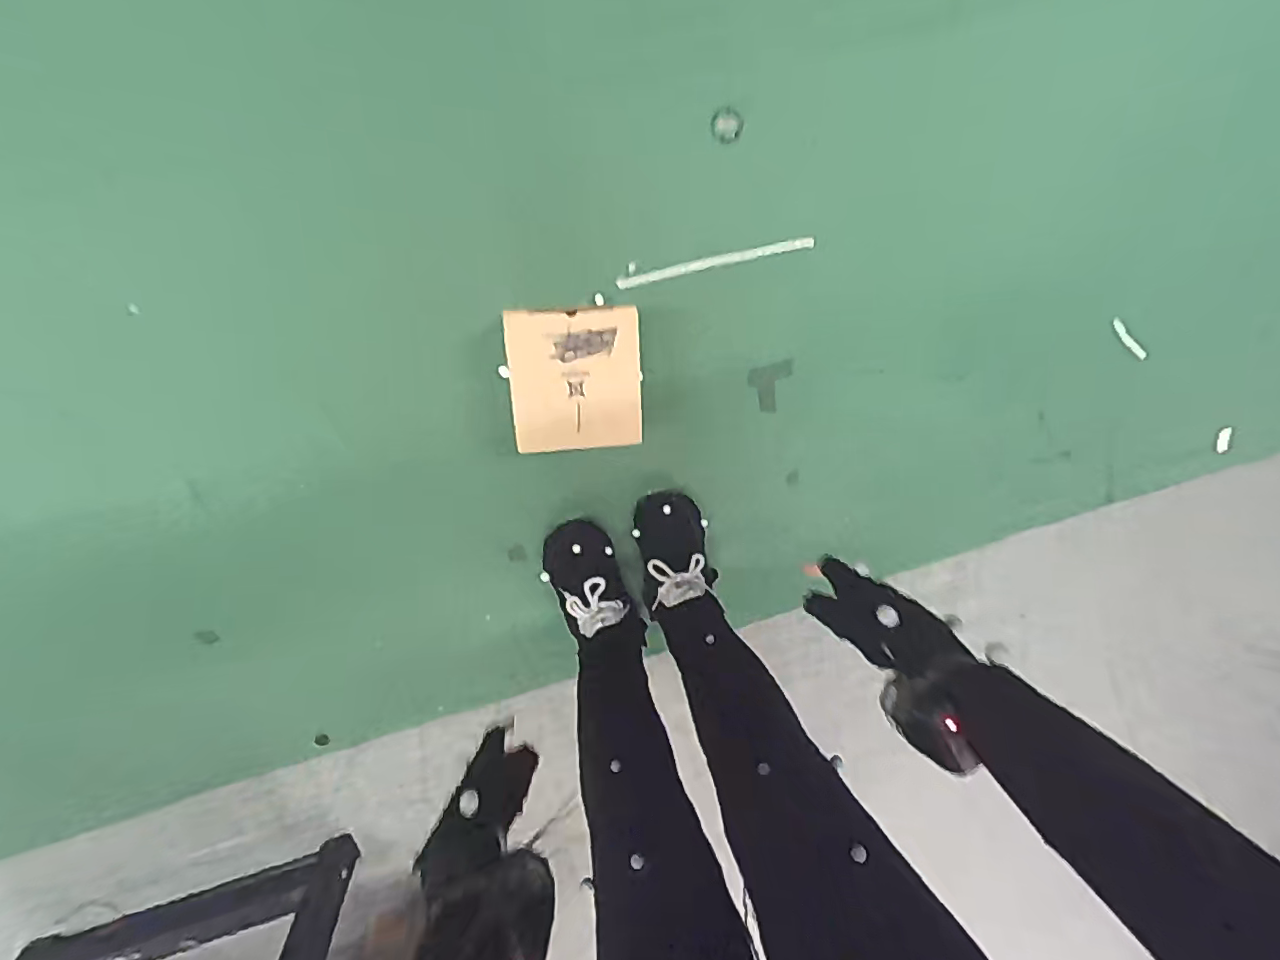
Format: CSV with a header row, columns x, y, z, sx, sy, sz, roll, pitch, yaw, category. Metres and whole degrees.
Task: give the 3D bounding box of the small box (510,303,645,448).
x,y,z,sx,sy,sz,roll,pitch,yaw,category
-0.090,-0.152,0.752,0.168,0.176,0.179,-5,109,-9,small box
